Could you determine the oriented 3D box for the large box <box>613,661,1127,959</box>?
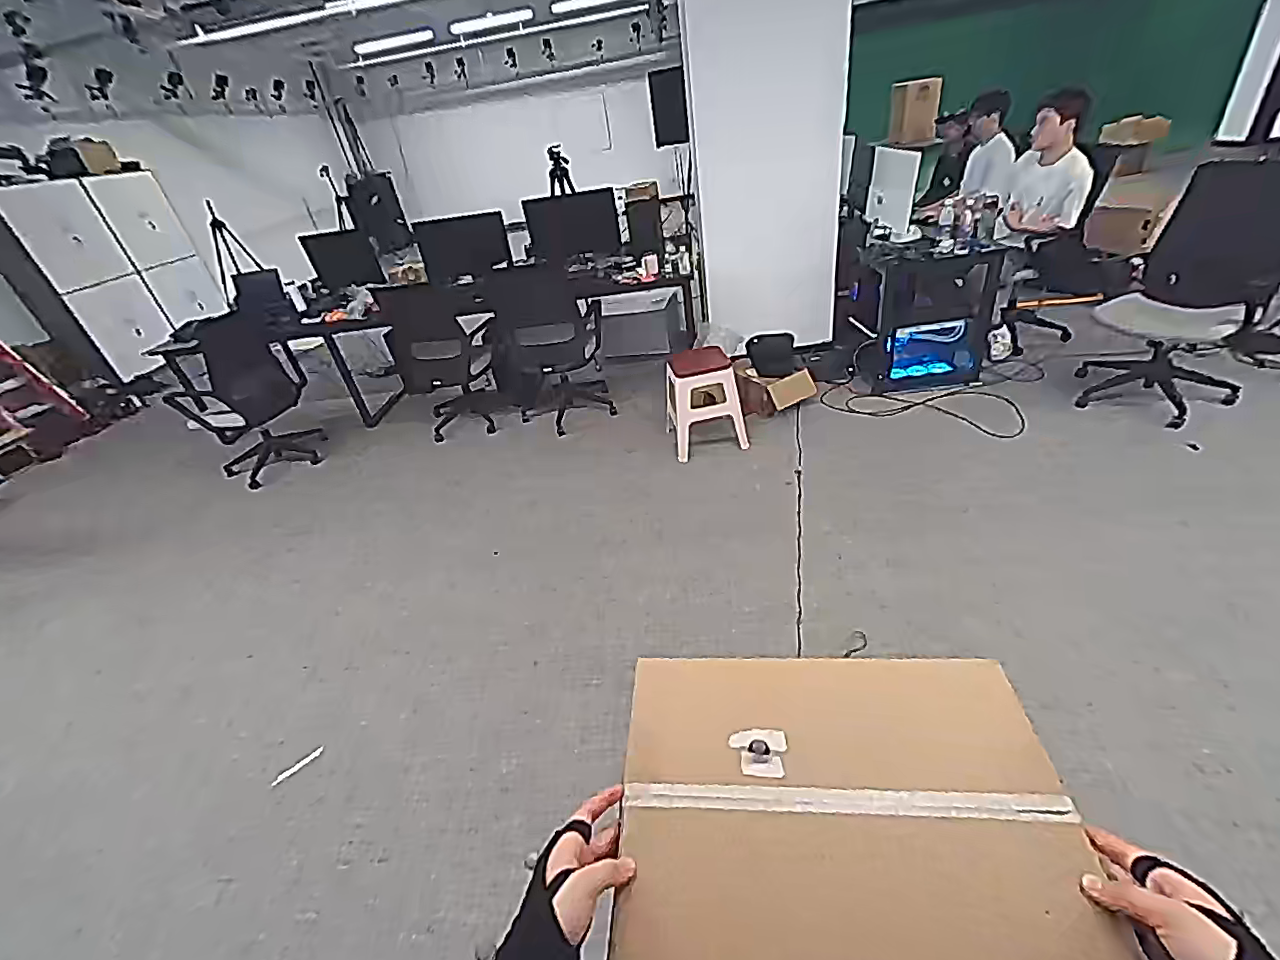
[{"bbox_3d":[0.203,0.430,0.608,0.408,0.320,0.320,-3,36,8],"label":"large box"}]
